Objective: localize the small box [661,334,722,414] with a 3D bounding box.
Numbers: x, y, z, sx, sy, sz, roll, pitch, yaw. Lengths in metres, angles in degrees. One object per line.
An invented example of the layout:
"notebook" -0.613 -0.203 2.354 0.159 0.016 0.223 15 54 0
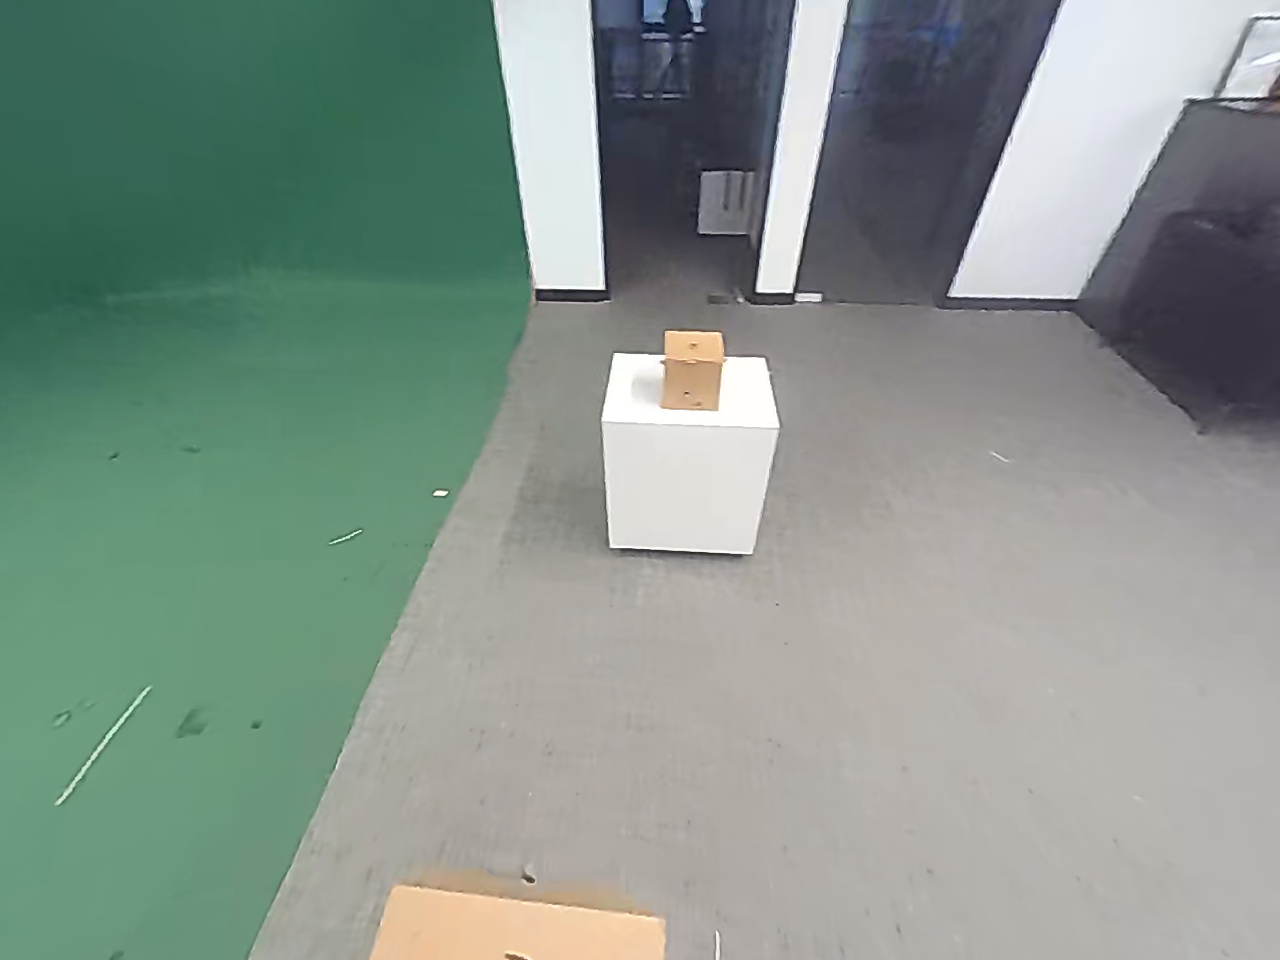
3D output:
"small box" 0.150 -0.316 1.604 0.168 0.176 0.179 2 41 2
